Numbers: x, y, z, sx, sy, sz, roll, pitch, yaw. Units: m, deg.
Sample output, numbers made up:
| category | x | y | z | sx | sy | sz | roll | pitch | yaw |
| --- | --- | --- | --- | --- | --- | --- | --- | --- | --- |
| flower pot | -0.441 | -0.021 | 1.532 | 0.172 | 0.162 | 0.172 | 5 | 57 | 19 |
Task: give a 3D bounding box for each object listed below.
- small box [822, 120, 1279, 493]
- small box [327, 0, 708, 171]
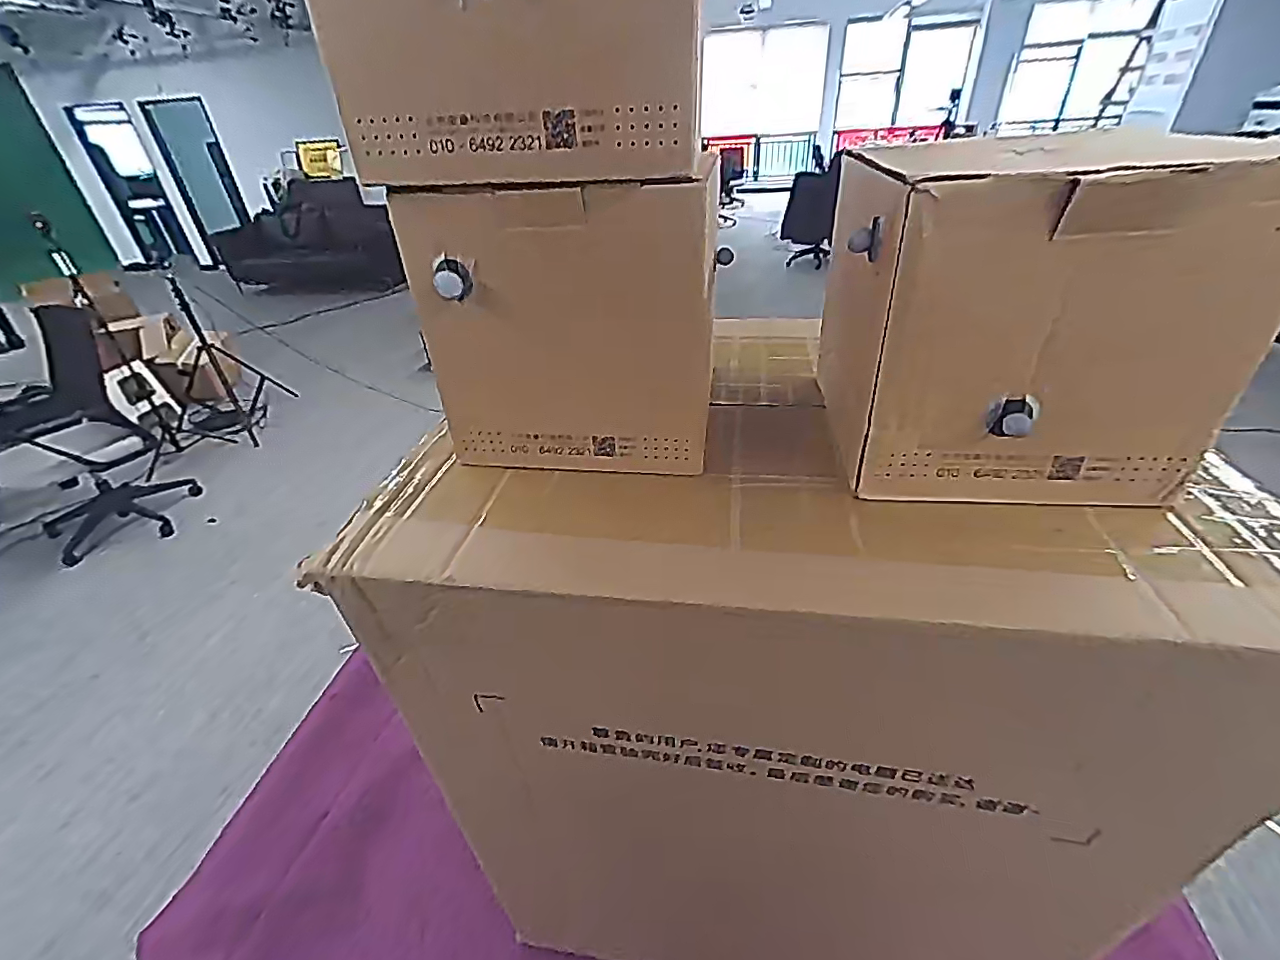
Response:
| category | x | y | z | sx | sy | sz | roll | pitch | yaw |
| --- | --- | --- | --- | --- | --- | --- | --- | --- | --- |
| small box | 0.213 | -0.110 | 0.328 | 0.168 | 0.176 | 0.179 | 0 | 35 | 8 |
| small box | -0.049 | -0.261 | 0.280 | 0.168 | 0.176 | 0.179 | 2 | 34 | 6 |
